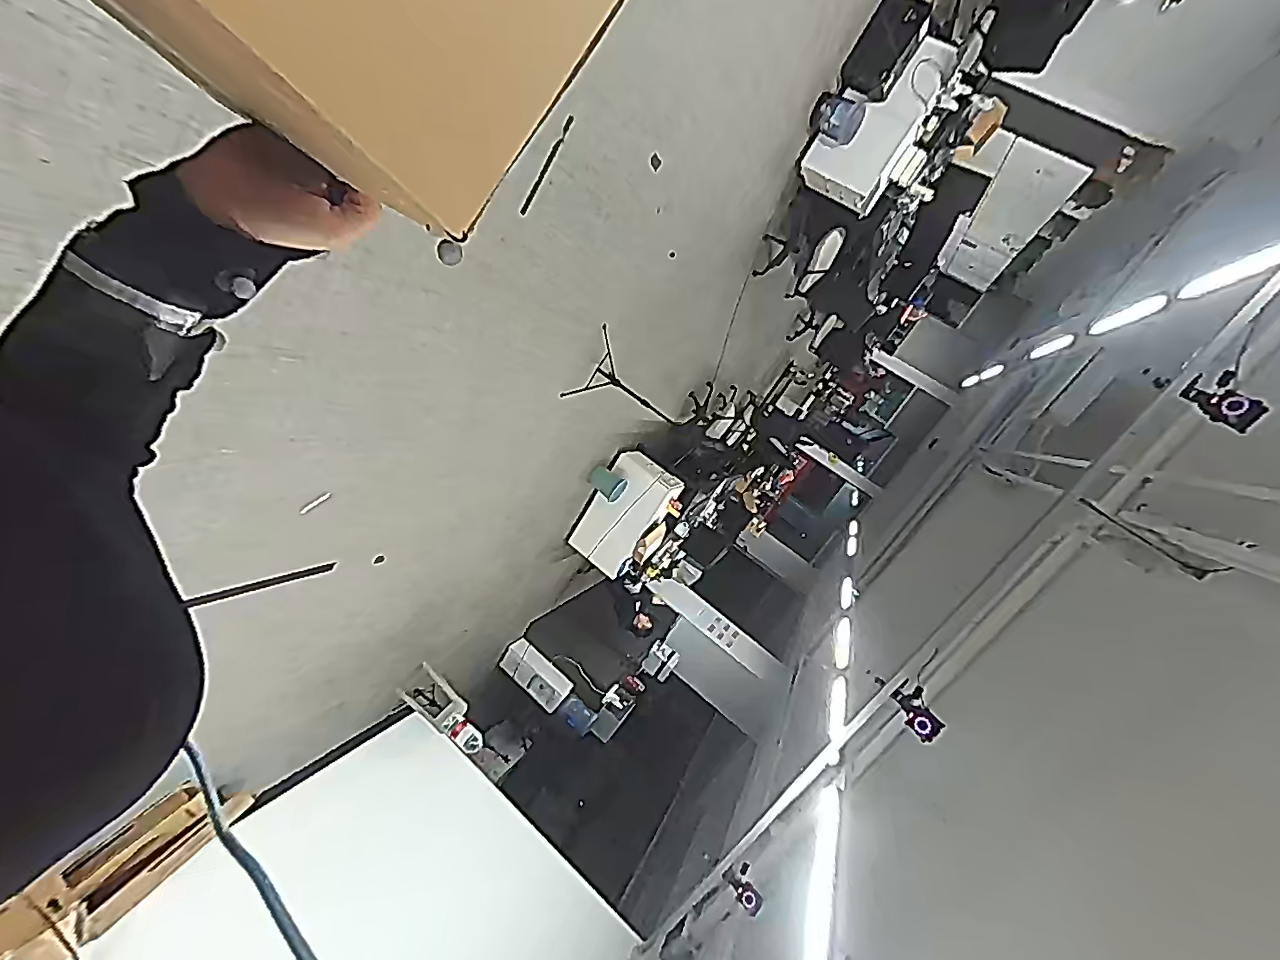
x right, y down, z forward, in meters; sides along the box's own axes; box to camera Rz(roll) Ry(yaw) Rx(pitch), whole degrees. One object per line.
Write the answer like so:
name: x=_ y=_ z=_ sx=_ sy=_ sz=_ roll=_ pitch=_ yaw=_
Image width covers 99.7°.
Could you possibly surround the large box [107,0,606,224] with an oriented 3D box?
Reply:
large box: x=-0.185 y=-0.364 z=0.133 sx=0.320 sy=0.320 sz=0.408 roll=-54 pitch=155 yaw=5
